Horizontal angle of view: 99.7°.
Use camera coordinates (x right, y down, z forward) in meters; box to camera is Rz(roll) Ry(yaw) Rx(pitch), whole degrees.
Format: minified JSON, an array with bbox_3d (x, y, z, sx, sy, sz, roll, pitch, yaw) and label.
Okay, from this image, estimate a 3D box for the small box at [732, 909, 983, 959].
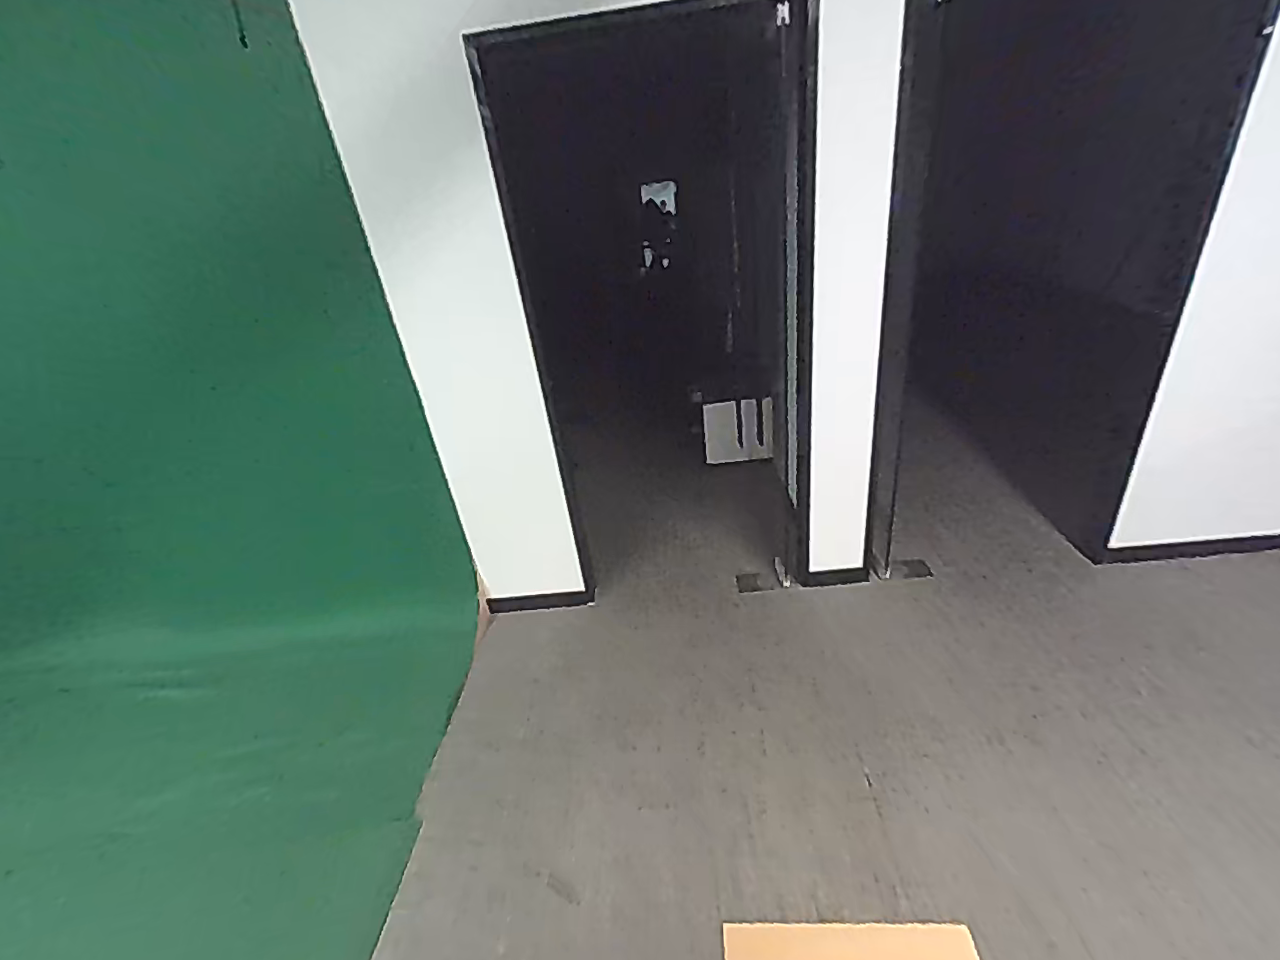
[{"bbox_3d":[0.147,0.418,0.349,0.168,0.176,0.179,-3,33,5],"label":"small box"}]
